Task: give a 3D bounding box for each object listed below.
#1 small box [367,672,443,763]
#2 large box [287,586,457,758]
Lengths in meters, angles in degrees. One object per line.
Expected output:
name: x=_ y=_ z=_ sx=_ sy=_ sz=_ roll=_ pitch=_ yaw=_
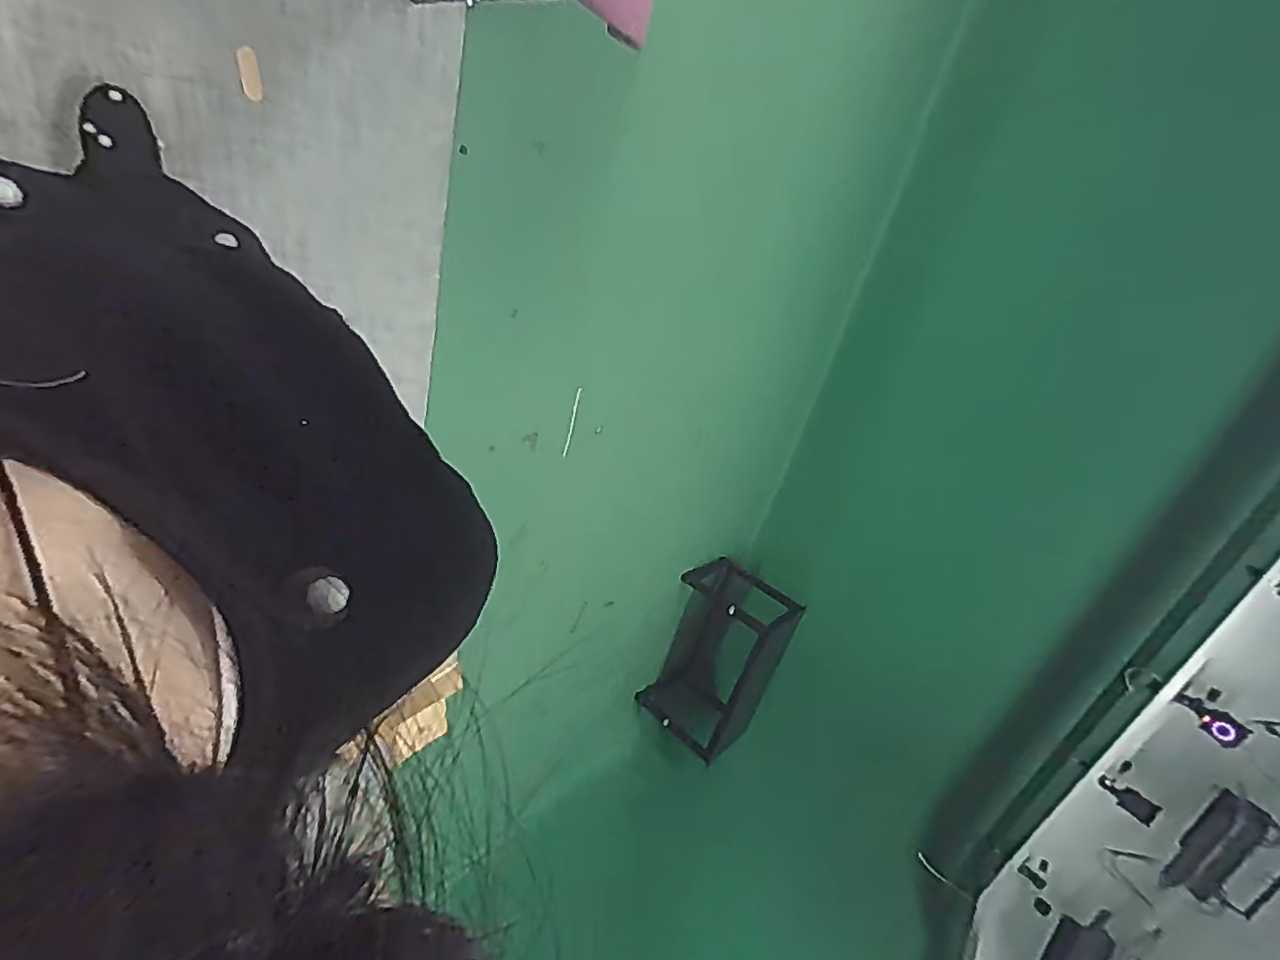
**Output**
small box: x=-0.745 y=0.738 z=1.712 sx=0.168 sy=0.176 sz=0.179 roll=-22 pitch=133 yaw=-43
large box: x=-0.912 y=0.646 z=1.875 sx=0.408 sy=0.320 sz=0.320 roll=-30 pitch=139 yaw=-40
